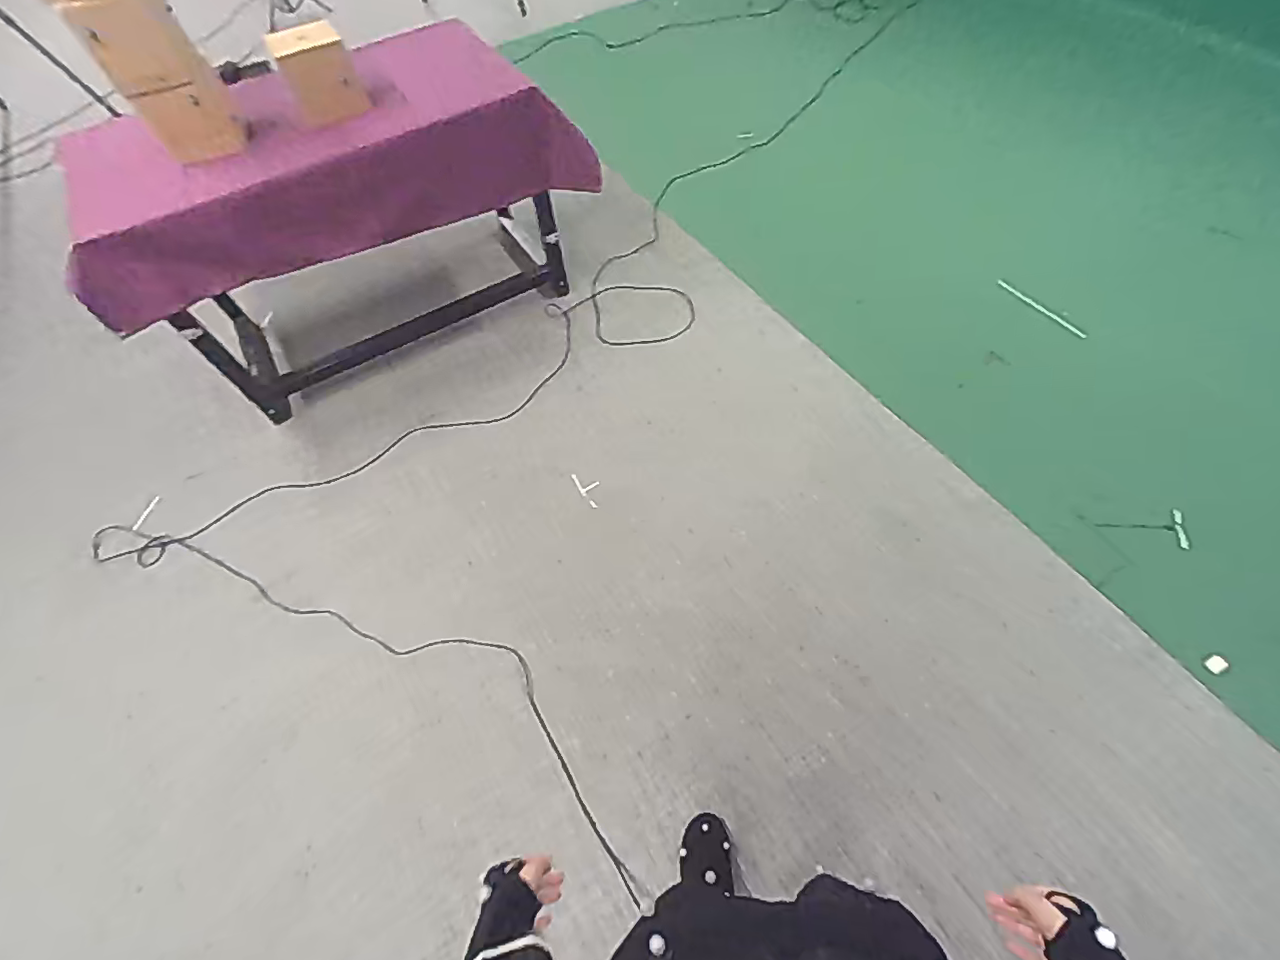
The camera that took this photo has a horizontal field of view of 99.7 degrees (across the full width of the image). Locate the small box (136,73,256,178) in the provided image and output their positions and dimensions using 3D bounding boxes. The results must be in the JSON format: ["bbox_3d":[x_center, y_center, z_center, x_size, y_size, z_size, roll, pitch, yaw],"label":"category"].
[{"bbox_3d":[-1.161,-0.929,1.427,0.179,0.176,0.168,-19,59,-9],"label":"small box"}]

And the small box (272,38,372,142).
[{"bbox_3d":[-0.871,-1.076,1.497,0.179,0.176,0.168,-28,60,-12],"label":"small box"}]

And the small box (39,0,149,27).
[{"bbox_3d":[-1.199,-1.108,1.153,0.179,0.176,0.168,-13,57,-4],"label":"small box"}]
